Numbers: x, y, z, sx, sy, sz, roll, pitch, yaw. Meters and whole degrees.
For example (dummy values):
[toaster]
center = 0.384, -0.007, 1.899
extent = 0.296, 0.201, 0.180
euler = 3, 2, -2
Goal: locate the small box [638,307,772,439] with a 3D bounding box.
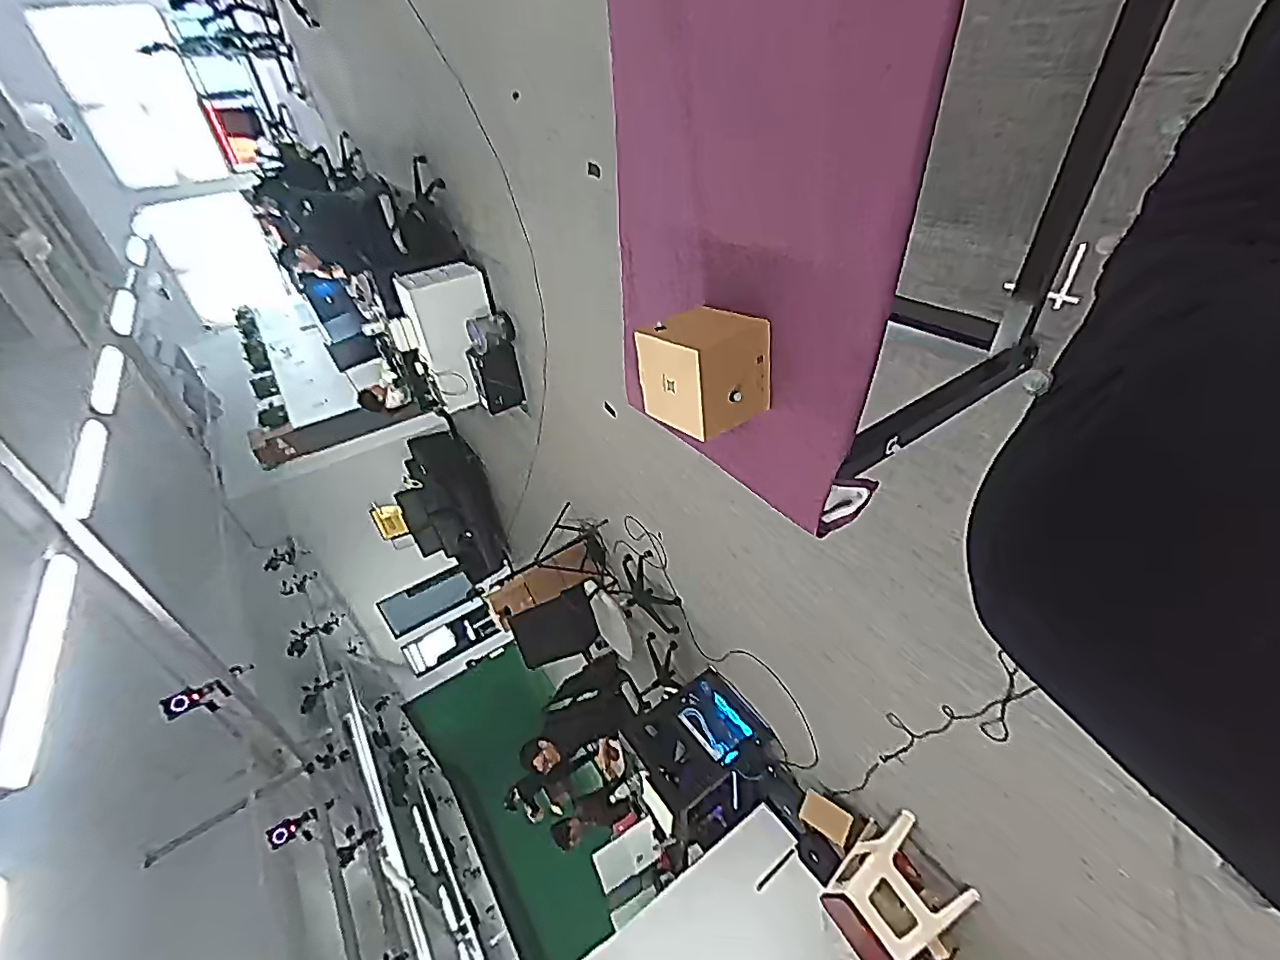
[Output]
[small box]
center = 0.122, -0.201, 0.971
extent = 0.179, 0.176, 0.168
euler = 33, 141, 48
